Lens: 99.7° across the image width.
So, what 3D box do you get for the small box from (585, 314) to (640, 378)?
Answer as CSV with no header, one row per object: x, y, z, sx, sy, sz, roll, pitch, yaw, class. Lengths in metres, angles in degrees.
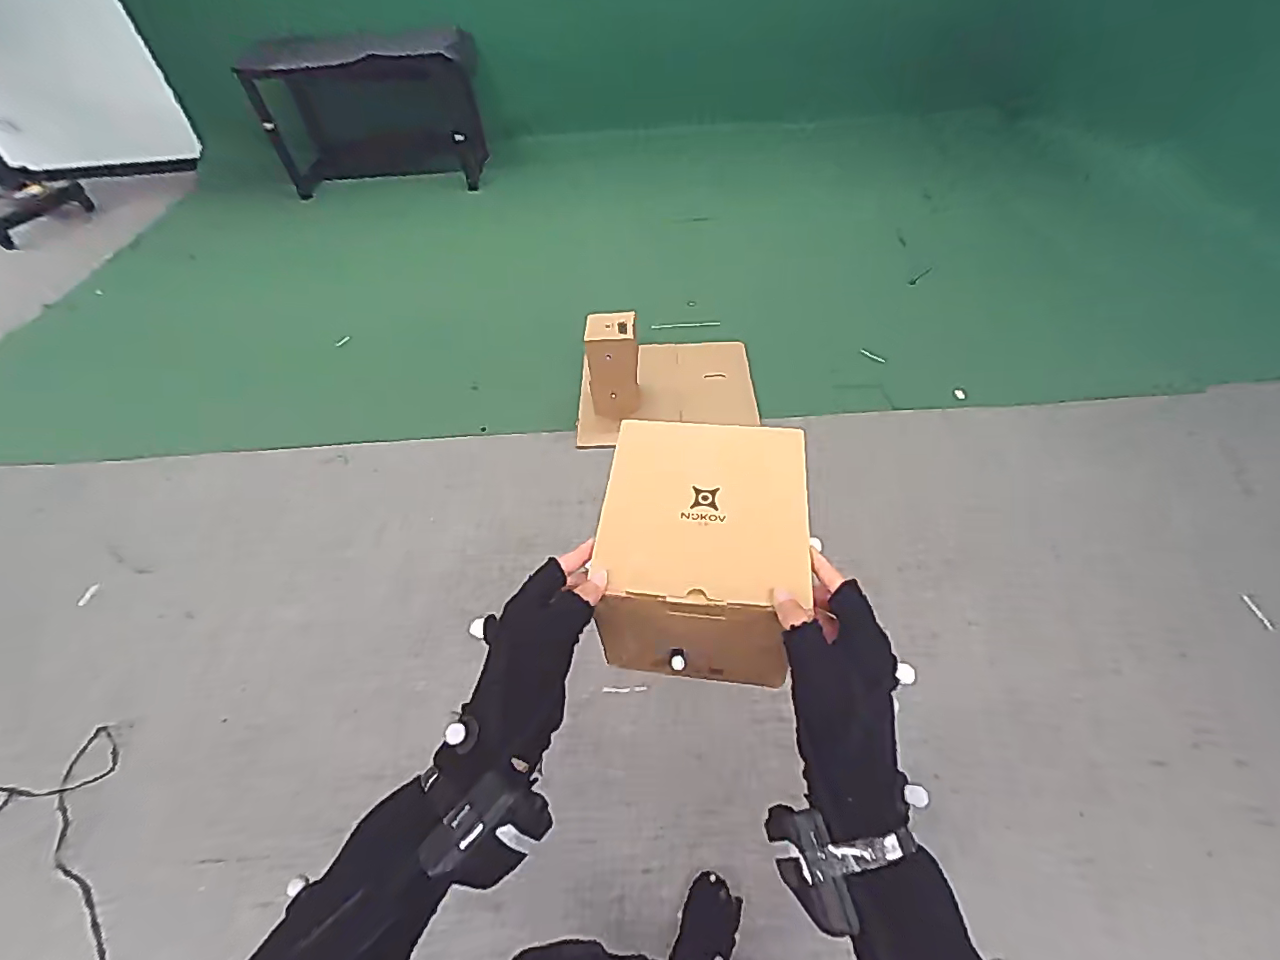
-0.094,-0.489,1.984,0.179,0.176,0.168,-1,50,6,small box
